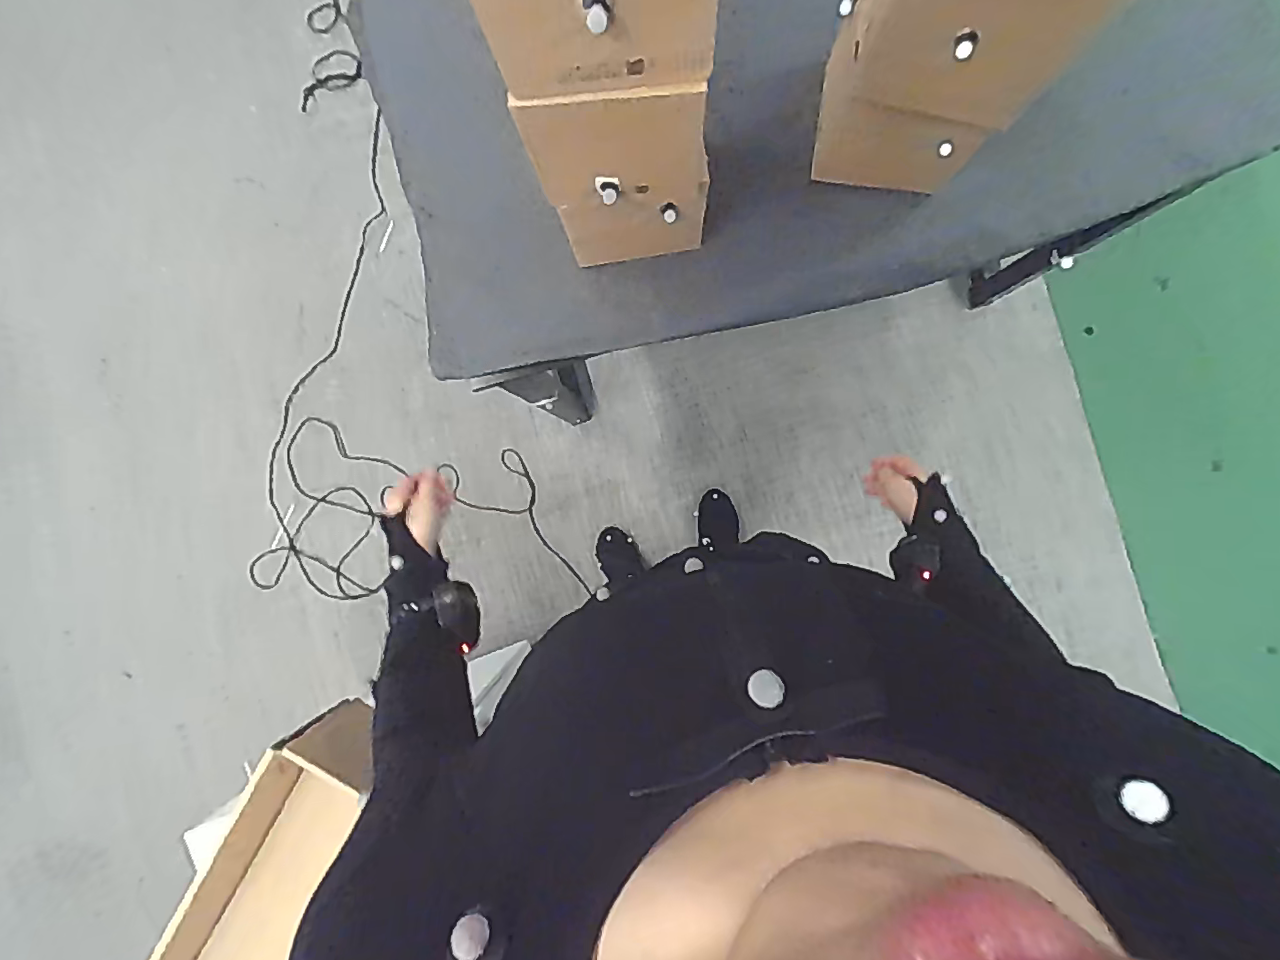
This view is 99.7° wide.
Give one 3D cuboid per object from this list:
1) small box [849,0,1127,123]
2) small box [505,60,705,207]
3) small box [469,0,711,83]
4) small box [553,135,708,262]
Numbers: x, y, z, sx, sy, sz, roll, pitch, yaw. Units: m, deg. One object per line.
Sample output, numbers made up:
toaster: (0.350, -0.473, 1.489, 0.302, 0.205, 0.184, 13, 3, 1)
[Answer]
small box: (0.321, -0.471, 0.497, 0.179, 0.176, 0.168, 16, 90, 4)
small box: (-0.026, -0.394, 0.520, 0.168, 0.176, 0.179, -2, 90, 5)
small box: (-0.037, -0.401, 0.357, 0.168, 0.176, 0.179, -3, 90, 4)
small box: (-0.016, -0.397, 0.683, 0.179, 0.176, 0.168, -7, 89, 4)
